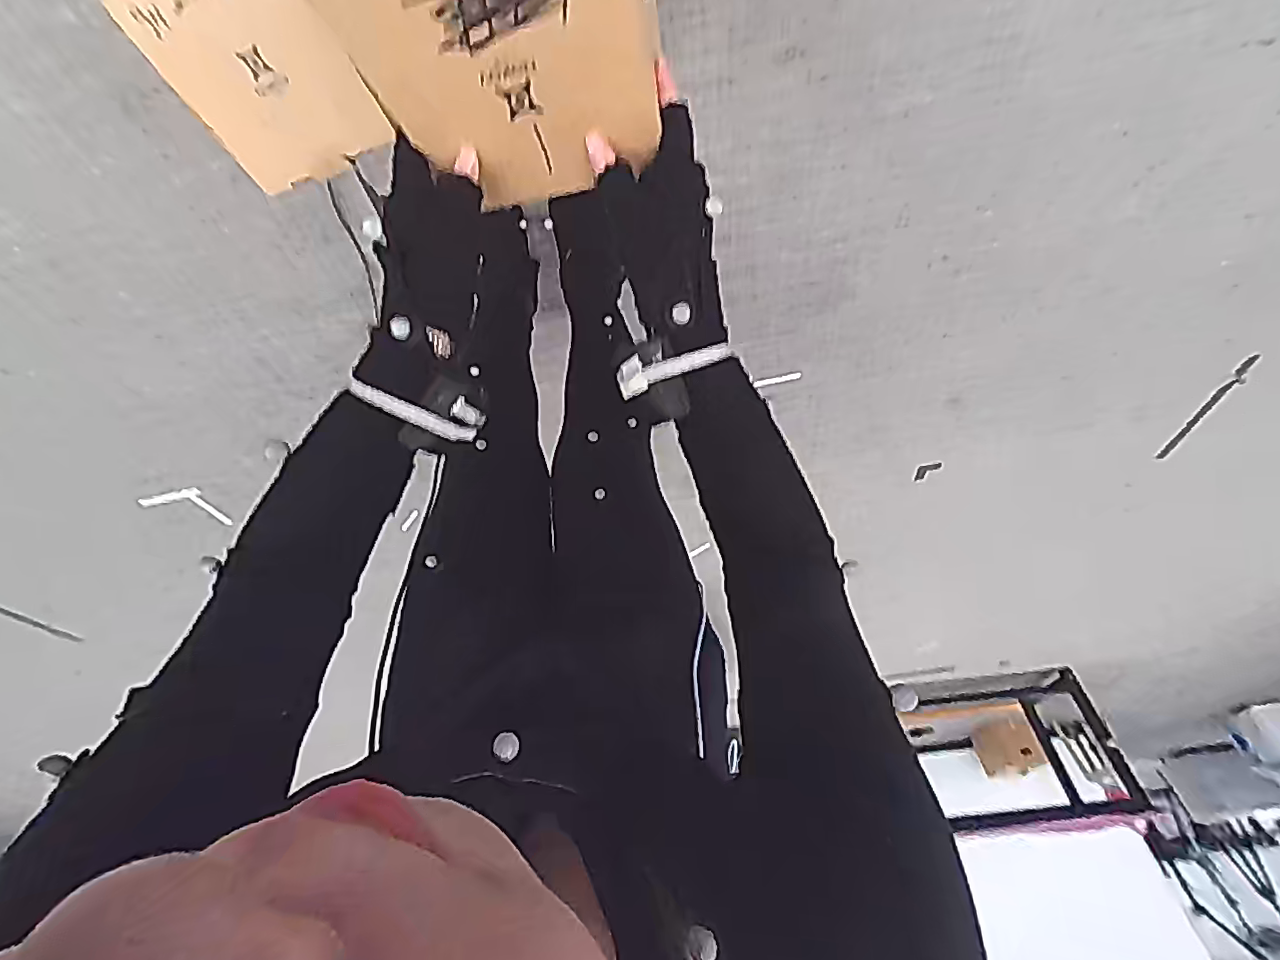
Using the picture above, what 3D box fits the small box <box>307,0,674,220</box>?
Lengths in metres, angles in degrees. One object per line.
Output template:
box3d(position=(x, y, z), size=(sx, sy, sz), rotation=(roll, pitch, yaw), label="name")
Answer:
box3d(position=(-0.077, -0.308, 0.343), size=(0.168, 0.176, 0.179), rotation=(-6, 167, 11), label="small box")

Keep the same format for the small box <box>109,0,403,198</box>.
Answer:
box3d(position=(-0.350, -0.434, 0.551), size=(0.168, 0.176, 0.179), rotation=(-16, 140, 11), label="small box")
